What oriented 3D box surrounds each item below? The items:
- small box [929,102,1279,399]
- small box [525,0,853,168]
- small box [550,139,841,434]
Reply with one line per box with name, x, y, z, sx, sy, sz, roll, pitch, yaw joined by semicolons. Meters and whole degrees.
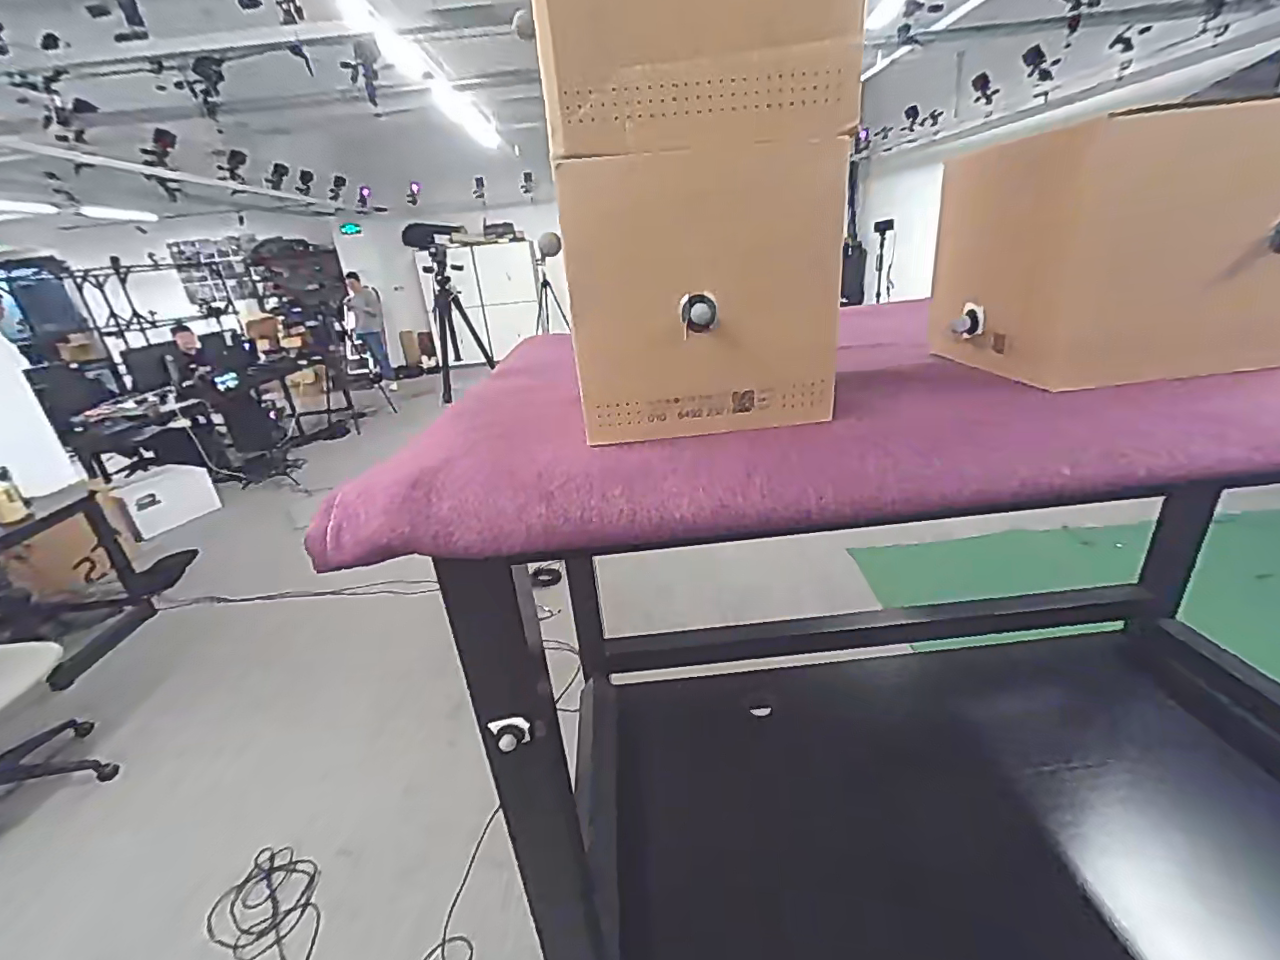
small box;0.353;-0.169;0.414;0.179;0.176;0.168;-7;23;-1
small box;0.021;-0.284;0.337;0.179;0.176;0.168;-6;25;-3
small box;0.033;-0.135;0.402;0.168;0.176;0.179;-5;24;-2
